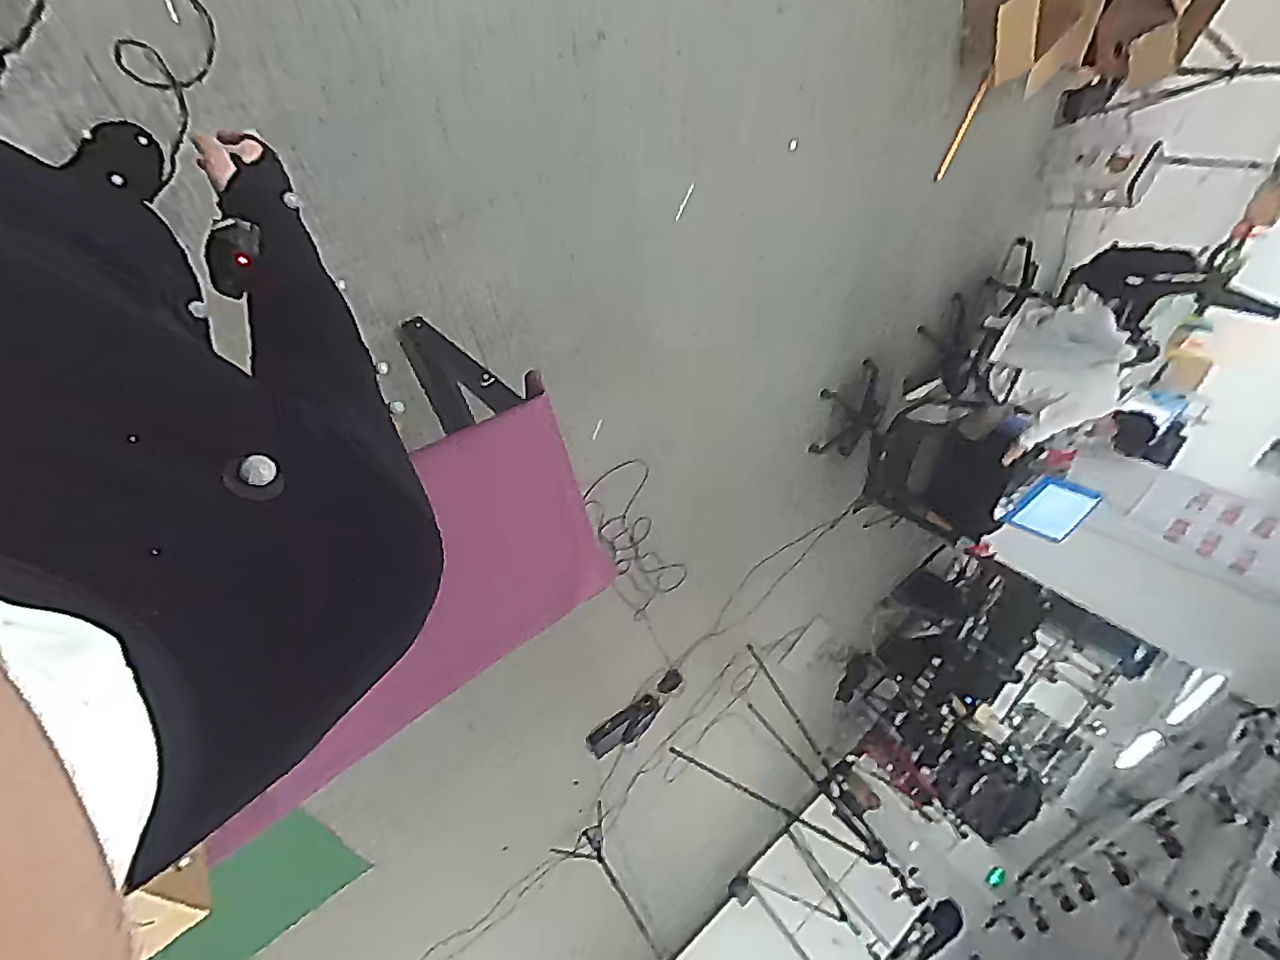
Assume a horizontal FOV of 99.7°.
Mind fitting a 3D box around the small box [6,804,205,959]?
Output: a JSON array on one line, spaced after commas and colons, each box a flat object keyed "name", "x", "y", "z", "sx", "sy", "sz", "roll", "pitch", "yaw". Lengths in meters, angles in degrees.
[{"name": "small box", "x": -0.883, "y": 0.691, "z": 0.911, "sx": 0.168, "sy": 0.176, "sz": 0.179, "roll": -33, "pitch": 136, "yaw": -22}]
